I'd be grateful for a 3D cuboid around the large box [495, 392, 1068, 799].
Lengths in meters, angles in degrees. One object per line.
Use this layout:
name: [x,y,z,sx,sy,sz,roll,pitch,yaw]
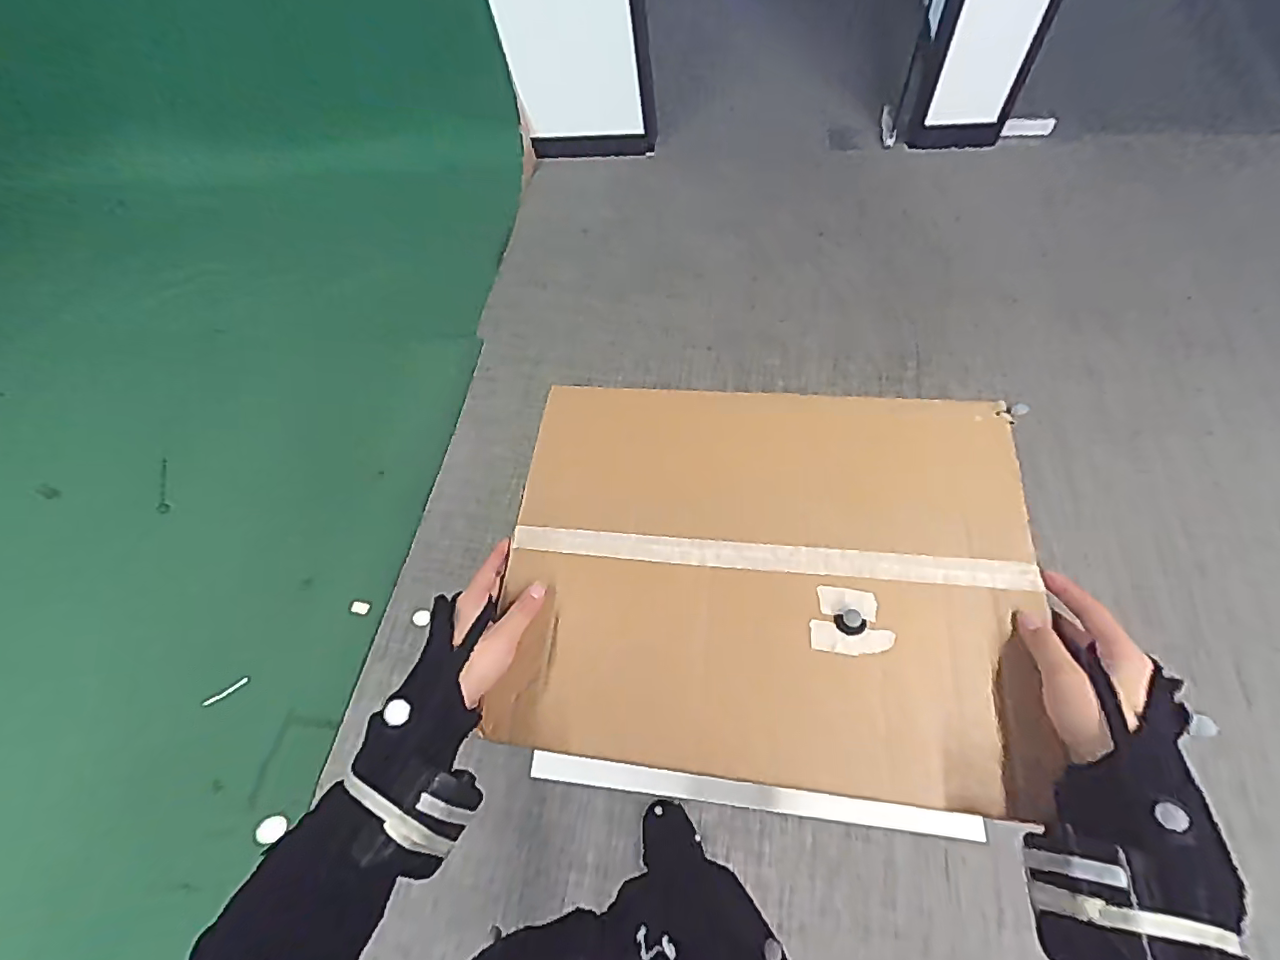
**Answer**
large box: [0.114,0.125,0.573,0.408,0.320,0.320,4,66,8]
